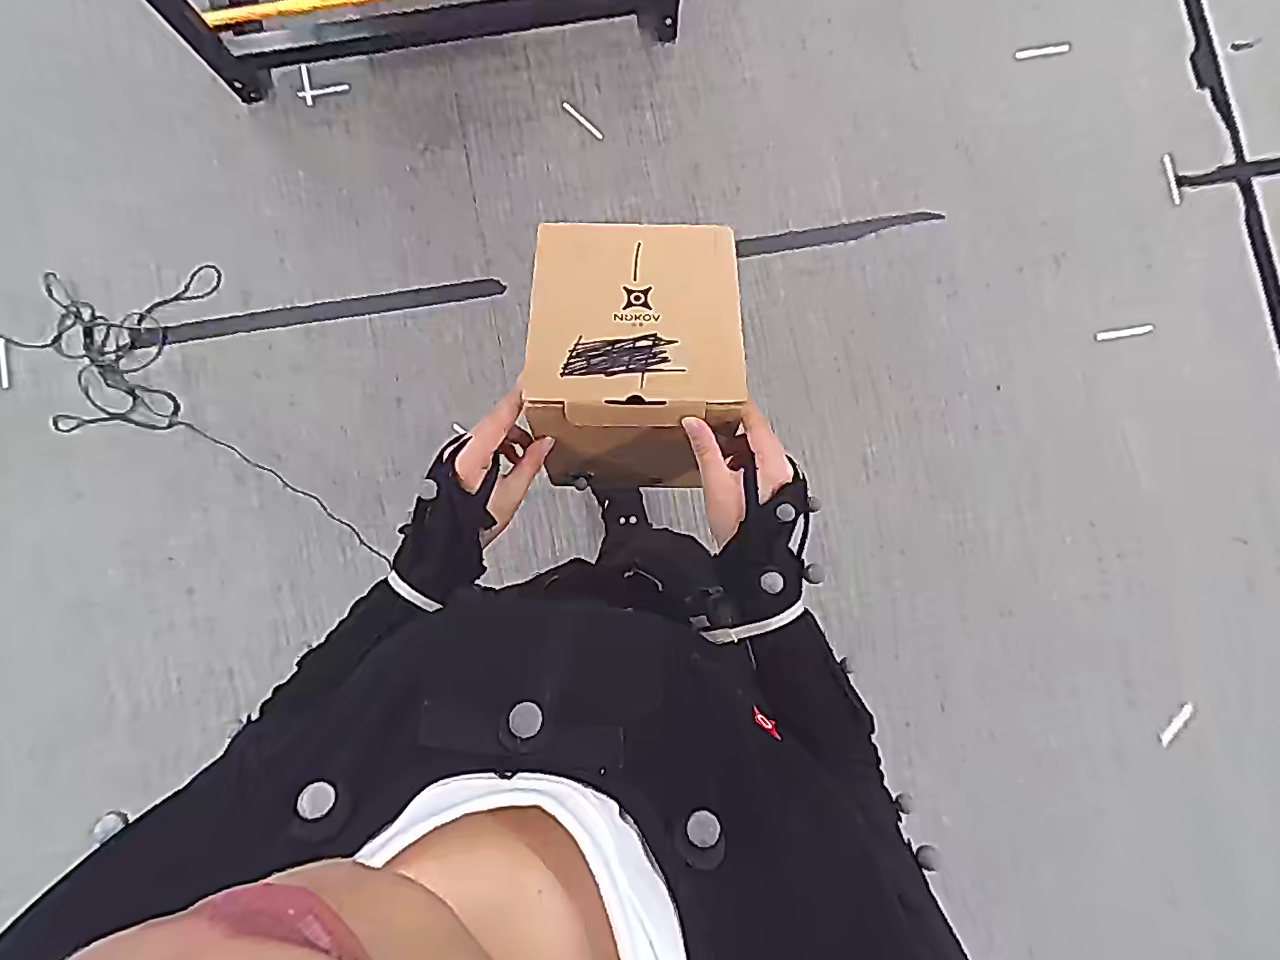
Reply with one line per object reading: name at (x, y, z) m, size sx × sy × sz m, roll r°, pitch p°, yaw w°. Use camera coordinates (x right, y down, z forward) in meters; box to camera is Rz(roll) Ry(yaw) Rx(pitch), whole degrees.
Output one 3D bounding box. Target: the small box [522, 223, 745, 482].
small box at (-0.004, -0.105, 0.495) m, size 0.168 × 0.176 × 0.179 m, roll 0°, pitch 67°, yaw -1°
